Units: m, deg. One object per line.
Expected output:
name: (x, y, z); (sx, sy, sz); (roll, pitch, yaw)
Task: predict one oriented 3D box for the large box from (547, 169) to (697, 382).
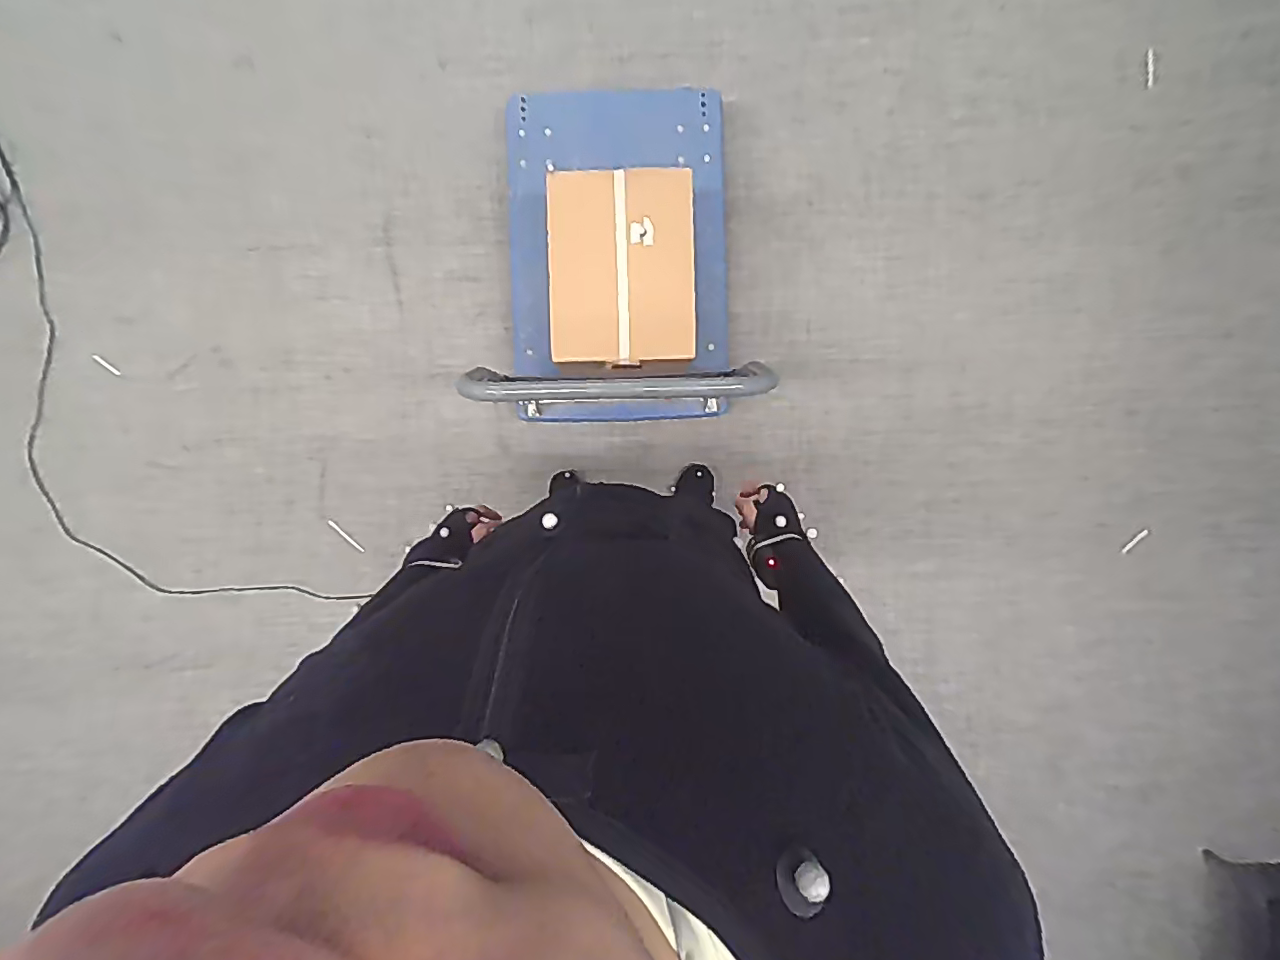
large box: (-0.038, -0.463, 1.304); (0.320, 0.320, 0.408); (-1, 91, -1)
